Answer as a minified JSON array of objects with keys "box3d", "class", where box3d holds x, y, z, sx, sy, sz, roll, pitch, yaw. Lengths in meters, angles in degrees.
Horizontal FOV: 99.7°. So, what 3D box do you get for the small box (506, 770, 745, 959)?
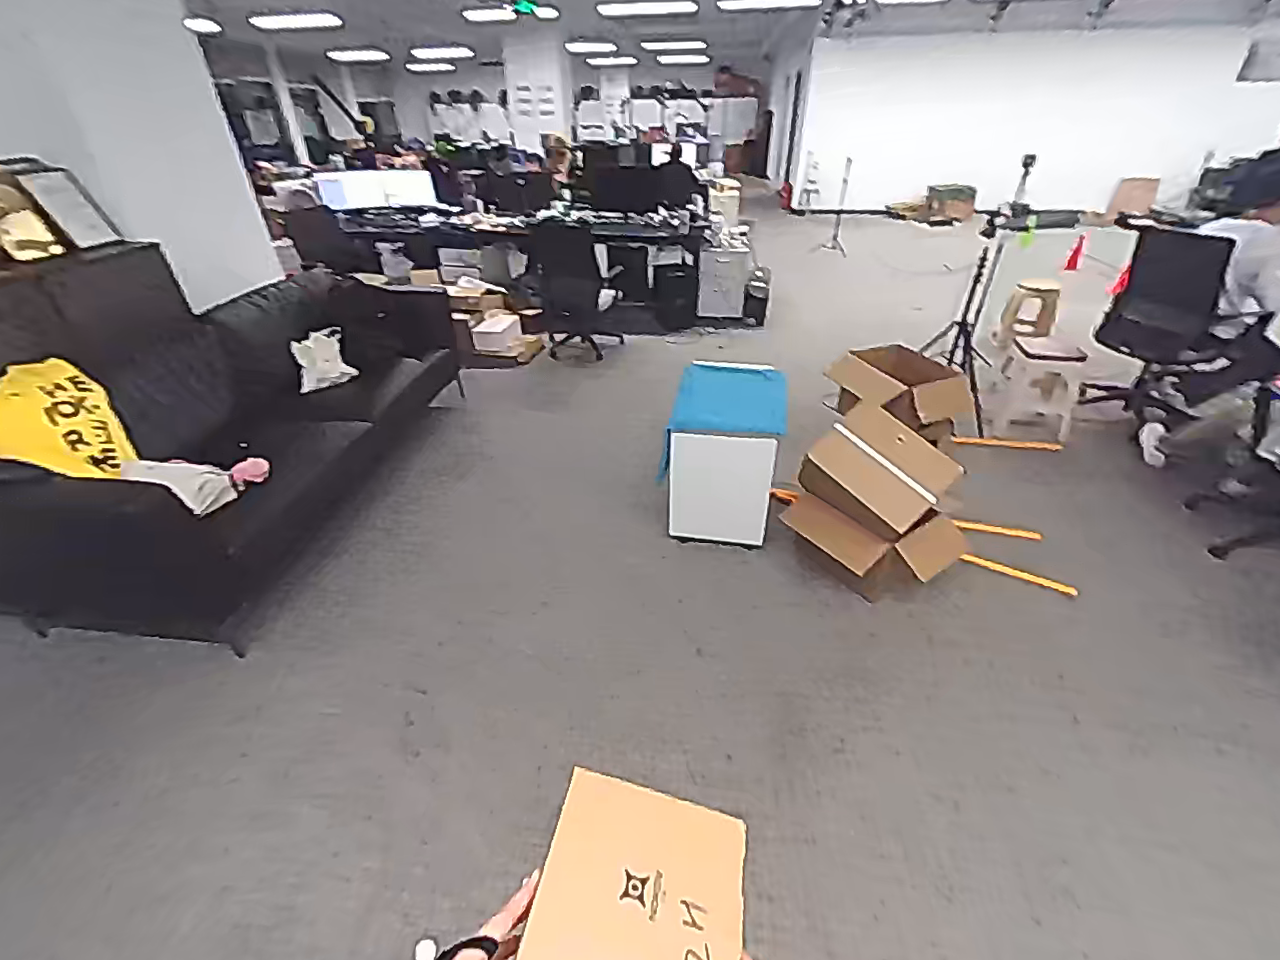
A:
[{"box3d":[-0.017,0.409,0.494,0.179,0.176,0.168,17,35,4],"class":"small box"}]
